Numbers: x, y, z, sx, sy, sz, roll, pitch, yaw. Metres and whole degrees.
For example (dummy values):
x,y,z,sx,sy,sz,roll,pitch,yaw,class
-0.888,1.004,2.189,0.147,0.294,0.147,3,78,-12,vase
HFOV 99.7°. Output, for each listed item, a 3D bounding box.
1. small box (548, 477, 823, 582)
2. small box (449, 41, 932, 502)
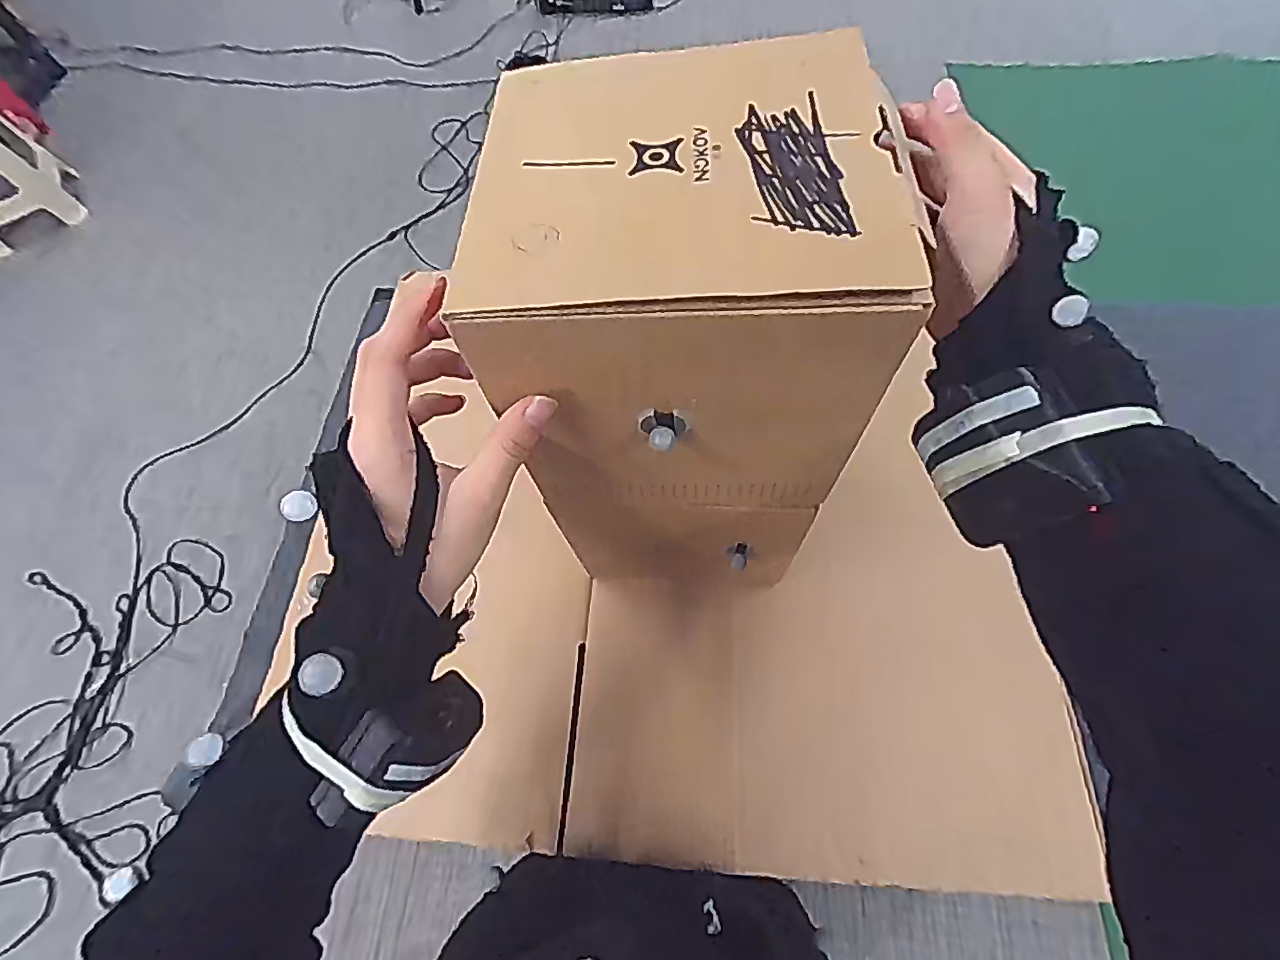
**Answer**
x,y,z,sx,sy,sz,roll,pitch,yaw,class
0.038,-0.020,0.445,0.179,0.176,0.168,0,63,6,small box
0.025,-0.095,0.298,0.179,0.176,0.168,-1,63,7,small box
